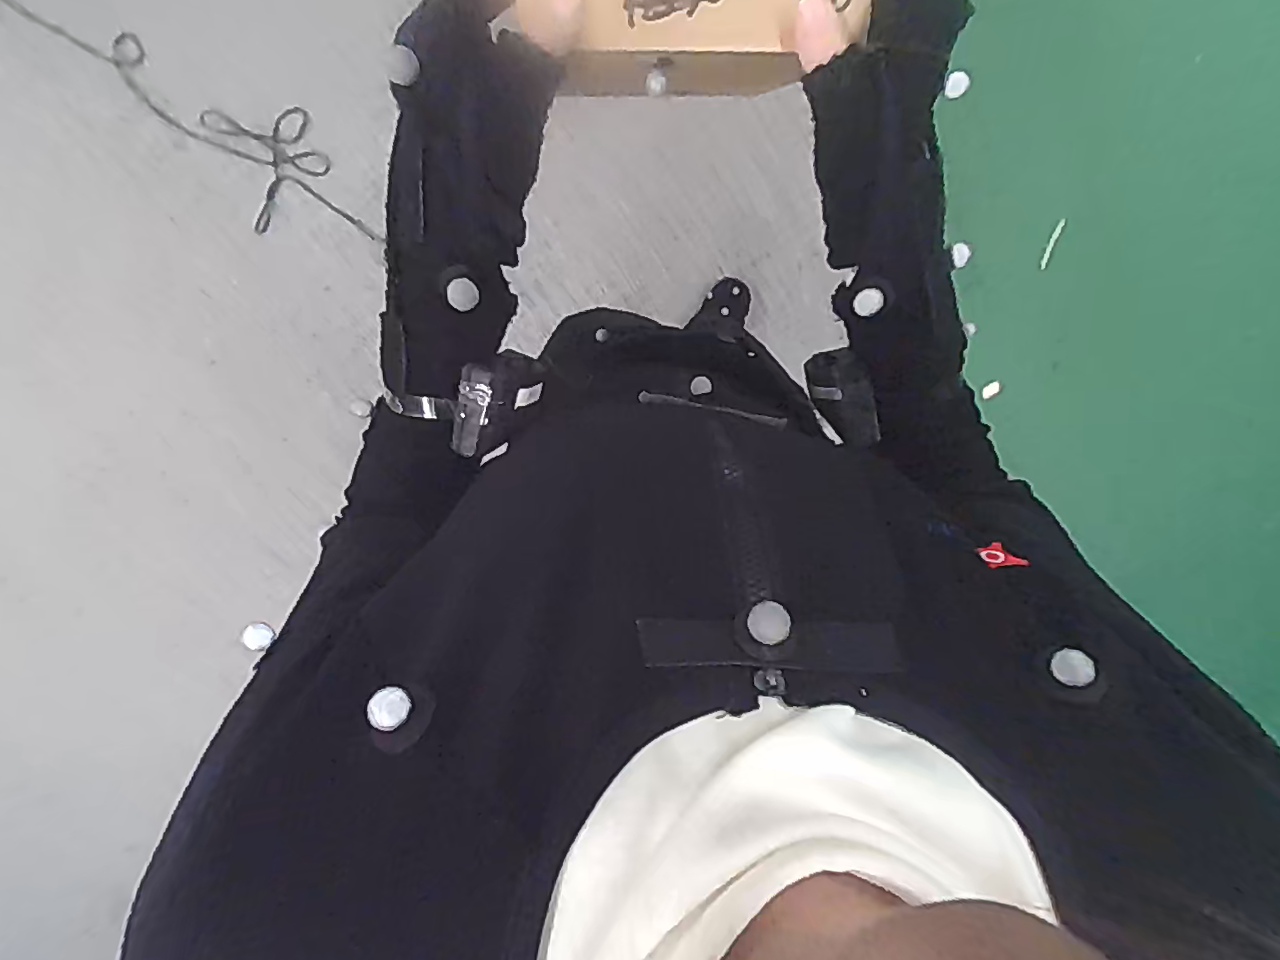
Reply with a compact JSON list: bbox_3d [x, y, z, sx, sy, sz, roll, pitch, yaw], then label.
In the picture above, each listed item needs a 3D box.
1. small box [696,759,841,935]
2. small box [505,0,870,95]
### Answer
[{"bbox_3d":[0.222,0.652,0.976,0.168,0.176,0.179,-36,106,7],"label":"small box"},{"bbox_3d":[0.011,-0.313,0.270,0.168,0.176,0.179,-5,119,-6],"label":"small box"}]
